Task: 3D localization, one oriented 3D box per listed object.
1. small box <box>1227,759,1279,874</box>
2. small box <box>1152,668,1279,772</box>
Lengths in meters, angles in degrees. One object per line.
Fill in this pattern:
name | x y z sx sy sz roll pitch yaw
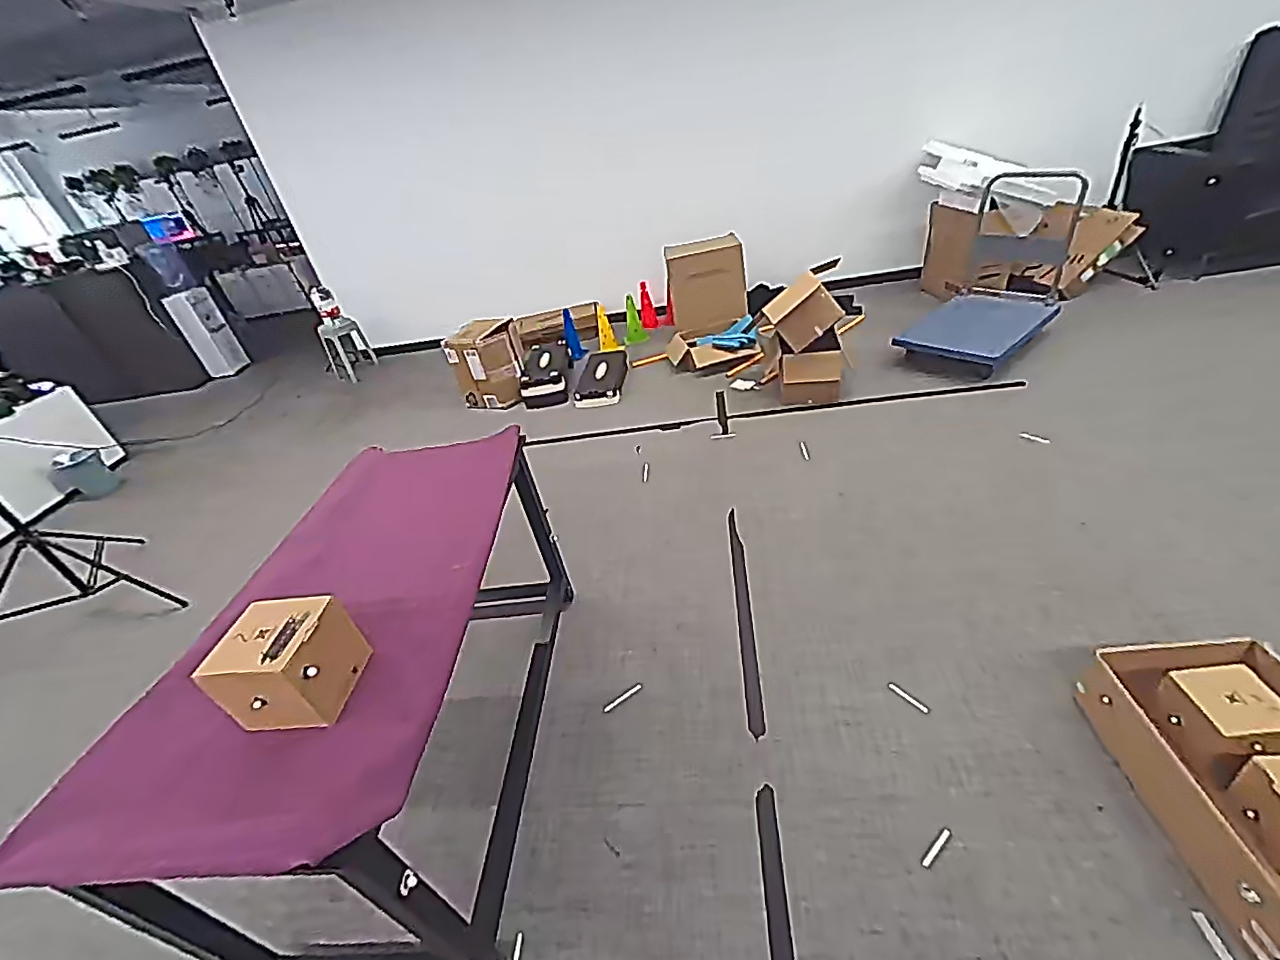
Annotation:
small box | 1.397 0.701 1.113 0.179 0.176 0.168 -4 34 12
small box | 1.385 0.576 1.290 0.179 0.176 0.168 -8 36 6
